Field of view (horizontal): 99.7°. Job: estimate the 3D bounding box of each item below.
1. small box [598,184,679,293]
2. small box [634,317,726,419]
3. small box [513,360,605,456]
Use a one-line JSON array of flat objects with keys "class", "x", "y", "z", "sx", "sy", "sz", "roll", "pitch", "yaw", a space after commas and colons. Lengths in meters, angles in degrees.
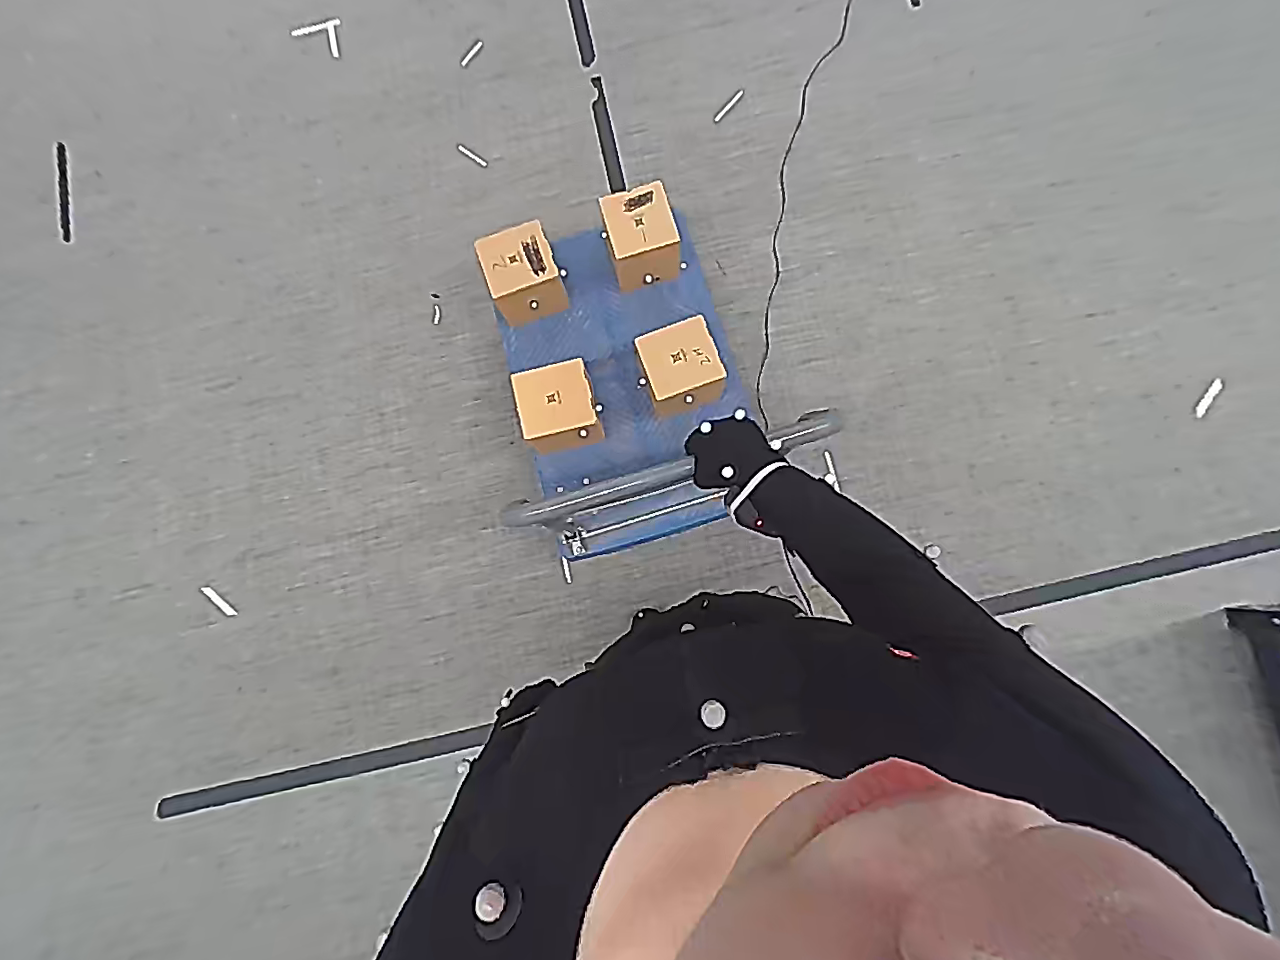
[{"class": "small box", "x": -0.002, "y": -0.622, "z": 1.408, "sx": 0.168, "sy": 0.176, "sz": 0.179, "roll": -17, "pitch": 81, "yaw": 0}, {"class": "small box", "x": 0.098, "y": -0.269, "z": 1.341, "sx": 0.179, "sy": 0.176, "sz": 0.168, "roll": -20, "pitch": 80, "yaw": -1}, {"class": "small box", "x": -0.196, "y": -0.170, "z": 1.339, "sx": 0.179, "sy": 0.176, "sz": 0.168, "roll": -15, "pitch": 79, "yaw": -1}]
